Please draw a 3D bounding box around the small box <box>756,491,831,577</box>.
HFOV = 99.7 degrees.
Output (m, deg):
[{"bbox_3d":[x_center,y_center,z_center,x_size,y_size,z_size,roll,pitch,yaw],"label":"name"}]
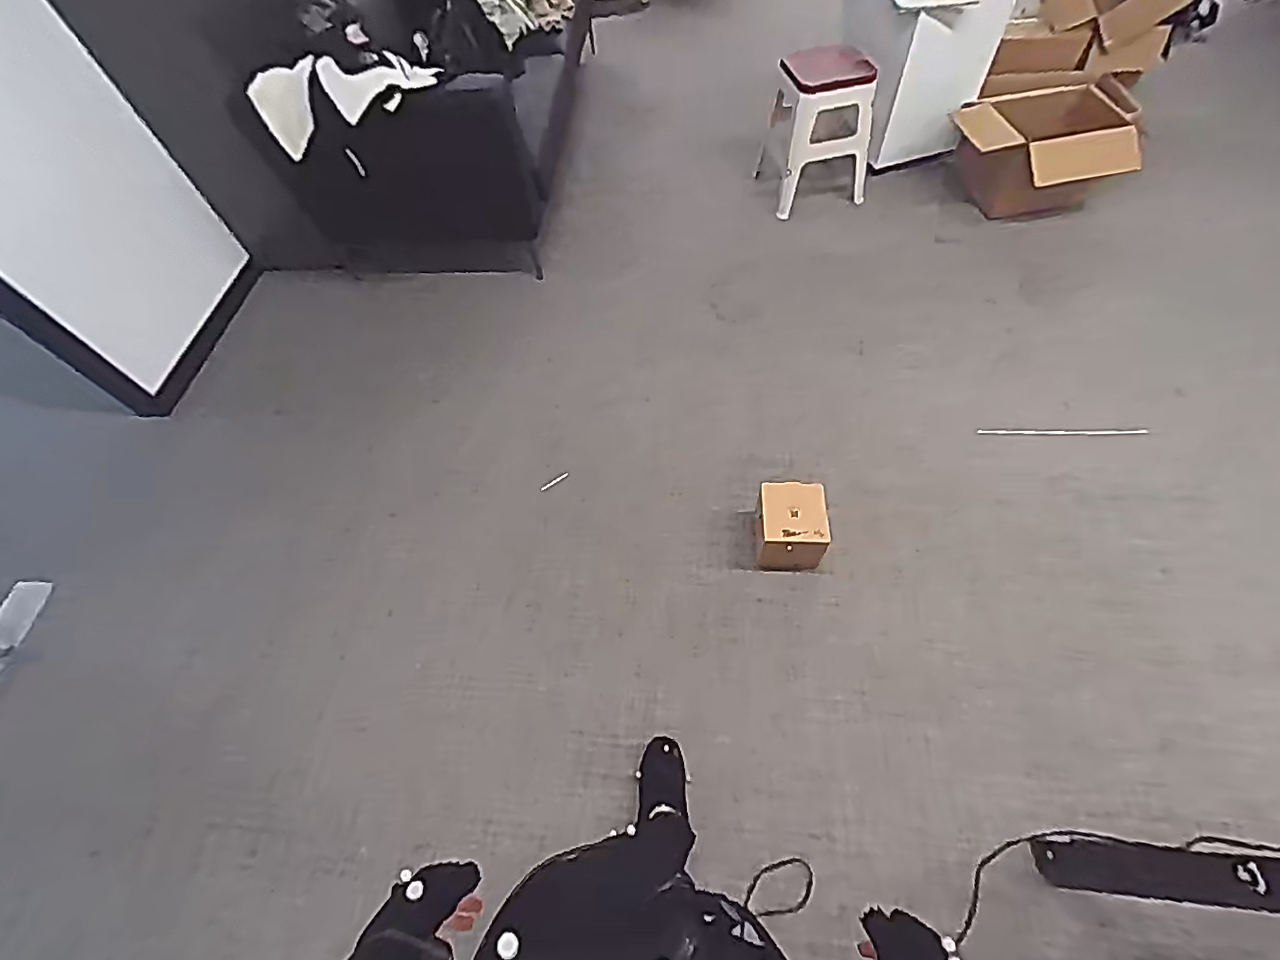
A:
[{"bbox_3d":[0.409,0.148,1.471,0.168,0.176,0.179,1,57,6],"label":"small box"}]
